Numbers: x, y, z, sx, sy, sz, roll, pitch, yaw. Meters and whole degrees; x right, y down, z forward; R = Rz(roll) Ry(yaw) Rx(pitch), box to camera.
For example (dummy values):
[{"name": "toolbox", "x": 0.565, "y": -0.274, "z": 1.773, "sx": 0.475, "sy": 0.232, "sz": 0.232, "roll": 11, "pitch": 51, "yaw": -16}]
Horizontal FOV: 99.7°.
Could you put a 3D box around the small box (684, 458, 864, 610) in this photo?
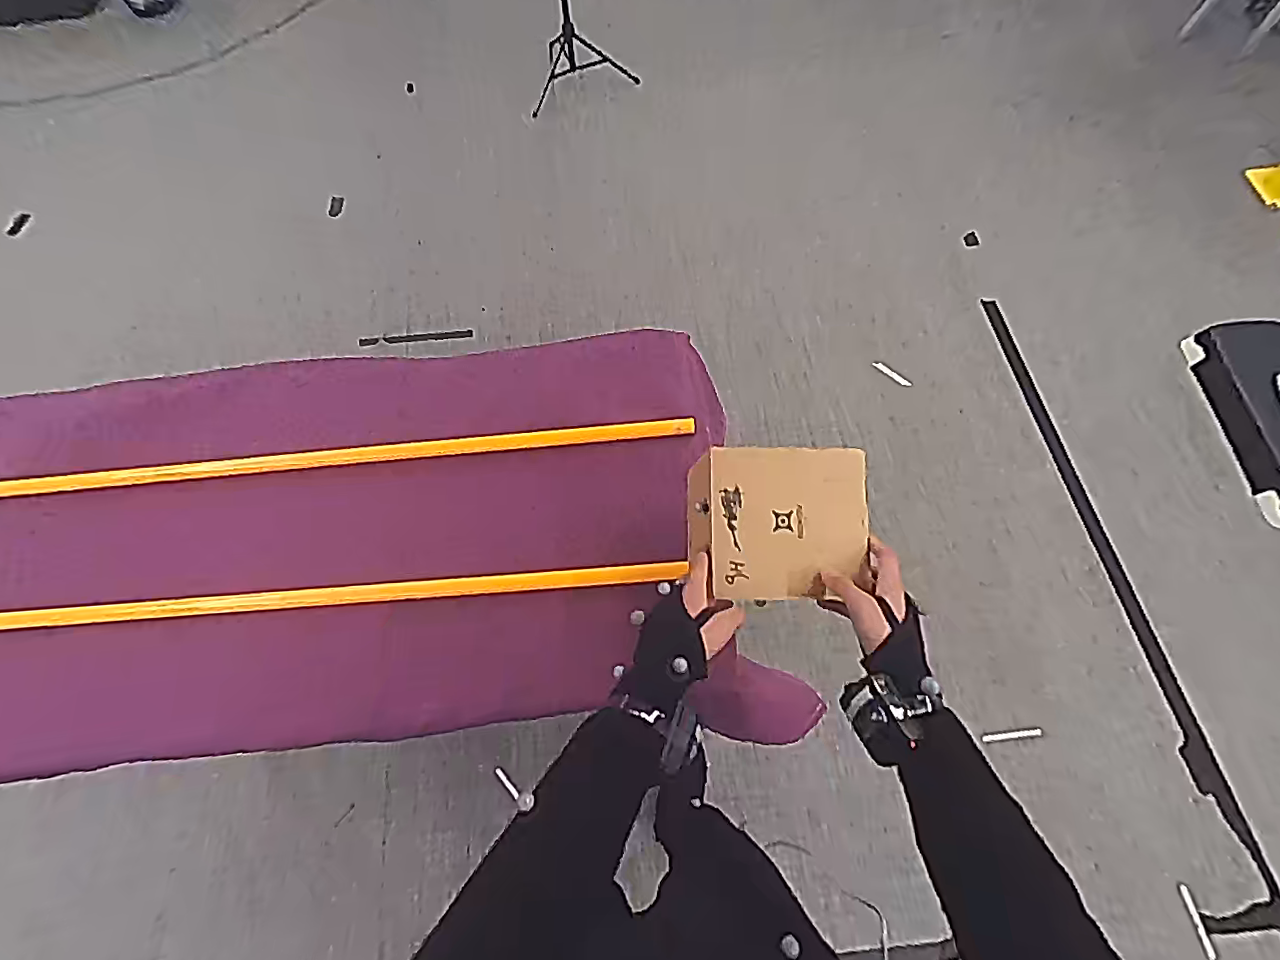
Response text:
[{"name": "small box", "x": 0.154, "y": 0.068, "z": 0.671, "sx": 0.179, "sy": 0.176, "sz": 0.168, "roll": 1, "pitch": 82, "yaw": -3}]
